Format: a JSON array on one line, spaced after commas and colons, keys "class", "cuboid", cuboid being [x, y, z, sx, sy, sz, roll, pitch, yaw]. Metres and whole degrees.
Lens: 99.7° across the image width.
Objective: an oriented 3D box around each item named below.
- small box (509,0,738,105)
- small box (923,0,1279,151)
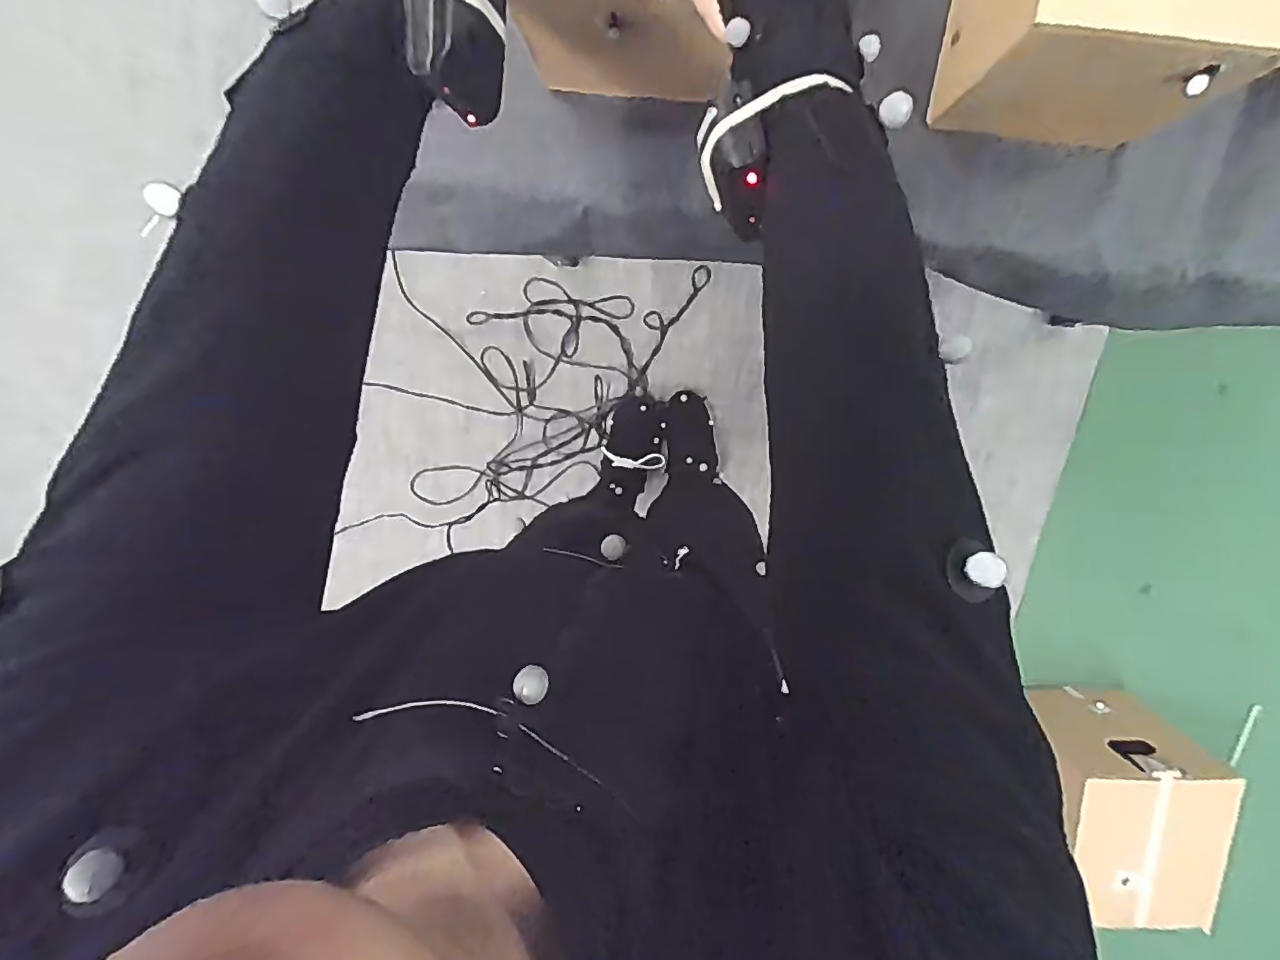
[{"class": "small box", "cuboid": [-0.007, -0.420, 0.417, 0.179, 0.176, 0.168, 6, 105, 1]}, {"class": "small box", "cuboid": [0.347, -0.373, 0.408, 0.179, 0.176, 0.168, 7, 103, 1]}]
